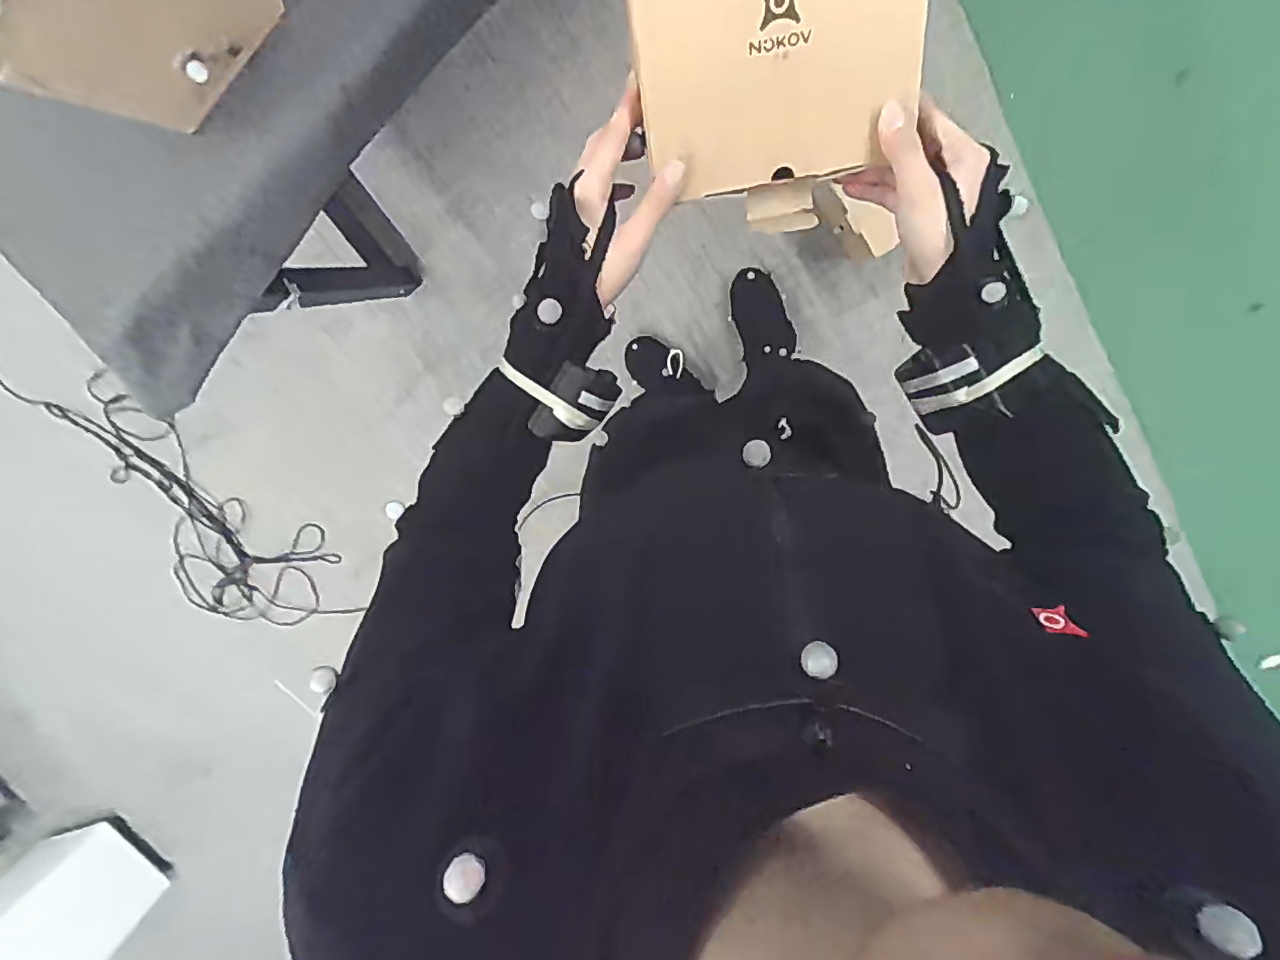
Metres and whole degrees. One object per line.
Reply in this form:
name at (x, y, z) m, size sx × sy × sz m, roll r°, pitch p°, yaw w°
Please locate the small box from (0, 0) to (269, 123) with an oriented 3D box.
small box at (-0.452, -0.424, 0.419) m, size 0.168 × 0.176 × 0.179 m, roll -34°, pitch 105°, yaw 18°
